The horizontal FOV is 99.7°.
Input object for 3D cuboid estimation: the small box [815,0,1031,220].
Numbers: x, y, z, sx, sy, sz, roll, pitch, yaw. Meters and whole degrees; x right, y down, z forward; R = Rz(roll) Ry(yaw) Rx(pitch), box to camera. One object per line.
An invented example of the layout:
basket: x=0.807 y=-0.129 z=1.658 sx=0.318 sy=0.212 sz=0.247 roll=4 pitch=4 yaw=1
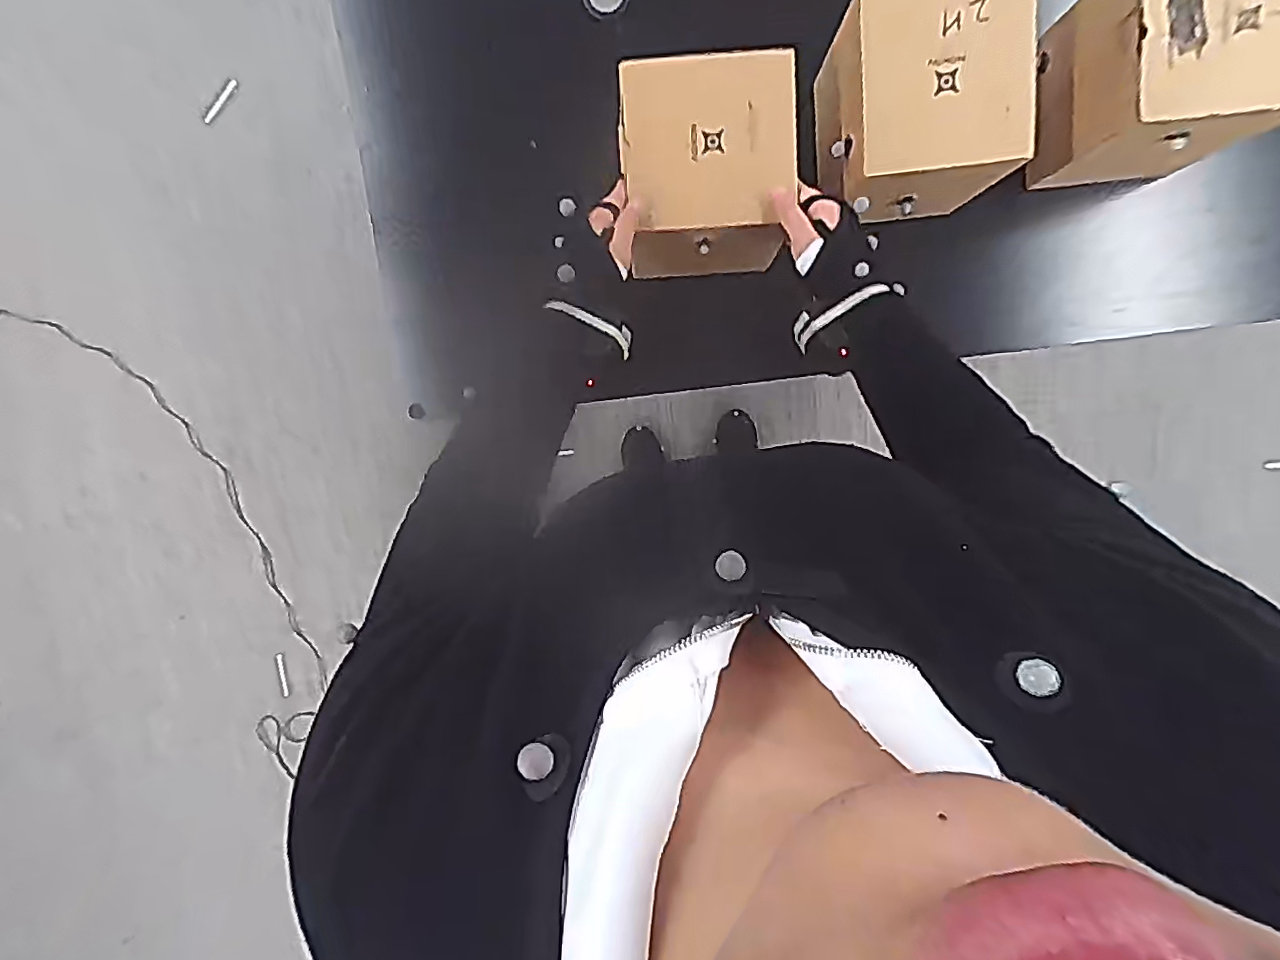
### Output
small box: x=0.304 y=-0.412 z=0.615 sx=0.168 sy=0.176 sz=0.179 roll=-4 pitch=98 yaw=4

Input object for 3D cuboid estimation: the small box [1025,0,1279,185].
small box: x=0.562 y=-0.447 z=0.595 sx=0.179 sy=0.176 sz=0.168 roll=-4 pitch=98 yaw=3
